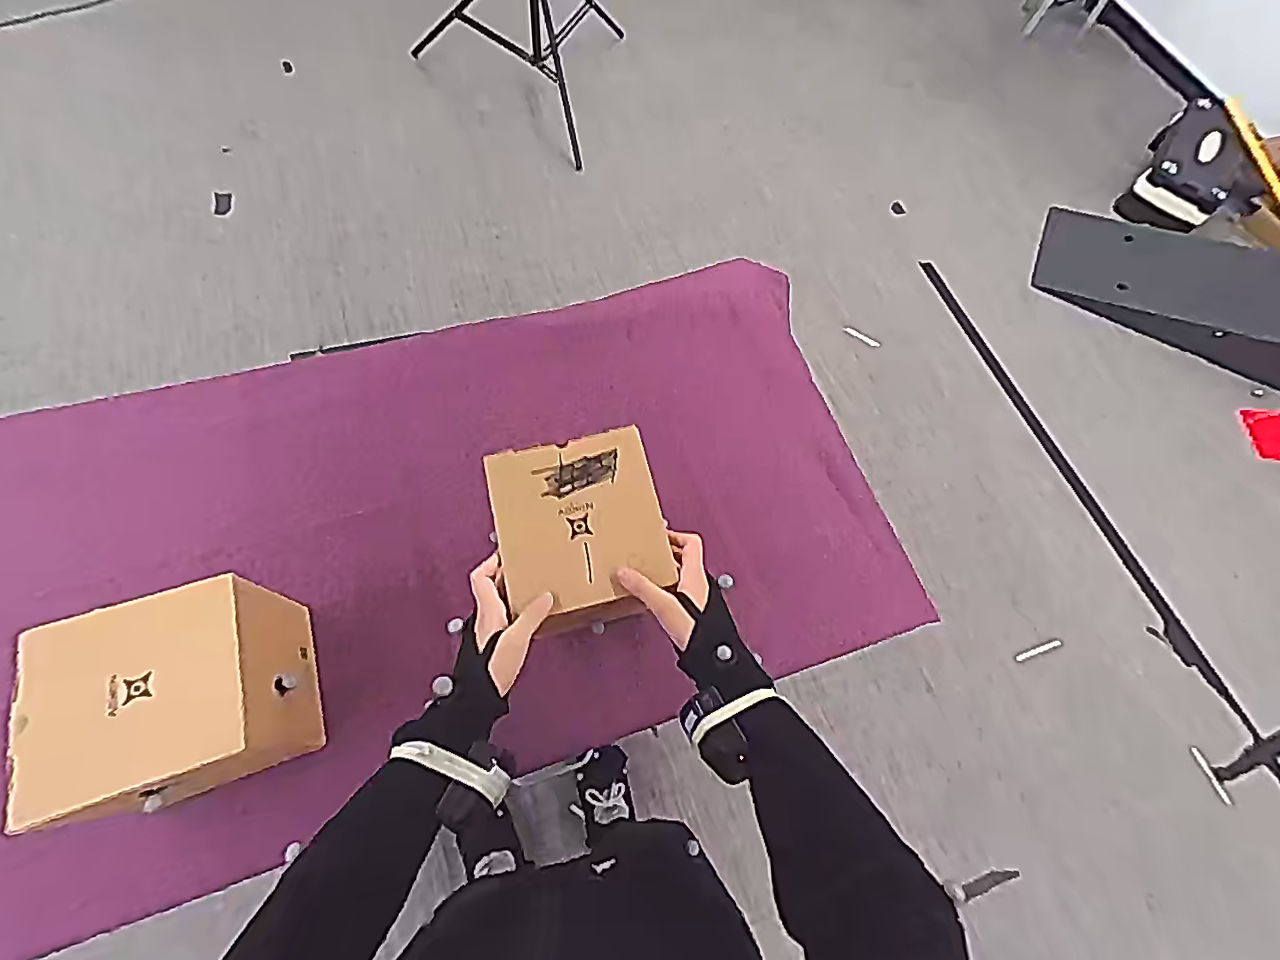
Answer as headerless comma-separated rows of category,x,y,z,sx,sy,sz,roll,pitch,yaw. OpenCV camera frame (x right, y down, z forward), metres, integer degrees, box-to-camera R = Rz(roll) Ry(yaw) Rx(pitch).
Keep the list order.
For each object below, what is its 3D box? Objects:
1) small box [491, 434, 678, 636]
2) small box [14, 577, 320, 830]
small box,-0.065,0.071,0.628,0.168,0.176,0.179,-12,71,-7
small box,-0.452,0.217,0.549,0.179,0.176,0.168,-17,69,-13
